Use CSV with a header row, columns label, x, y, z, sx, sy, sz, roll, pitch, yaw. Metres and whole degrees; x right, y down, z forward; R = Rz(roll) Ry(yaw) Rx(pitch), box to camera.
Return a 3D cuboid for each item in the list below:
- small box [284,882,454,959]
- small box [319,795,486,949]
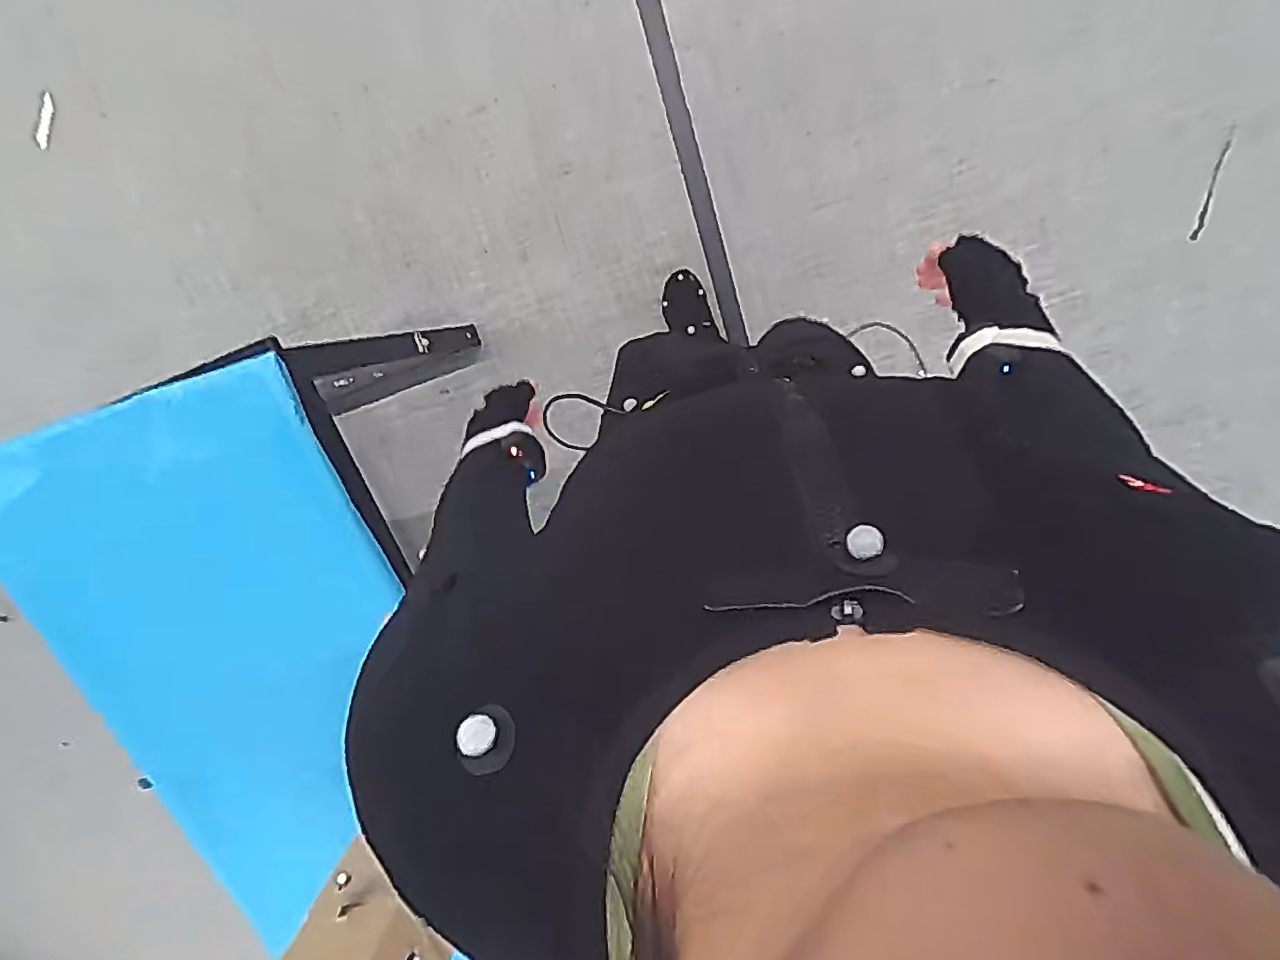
label,x,y,z,sx,sy,sz,roll,pitch,yaw
small box,-0.405,0.731,0.775,0.168,0.176,0.179,-16,105,12
small box,-0.397,0.686,0.936,0.179,0.176,0.168,-15,107,9
